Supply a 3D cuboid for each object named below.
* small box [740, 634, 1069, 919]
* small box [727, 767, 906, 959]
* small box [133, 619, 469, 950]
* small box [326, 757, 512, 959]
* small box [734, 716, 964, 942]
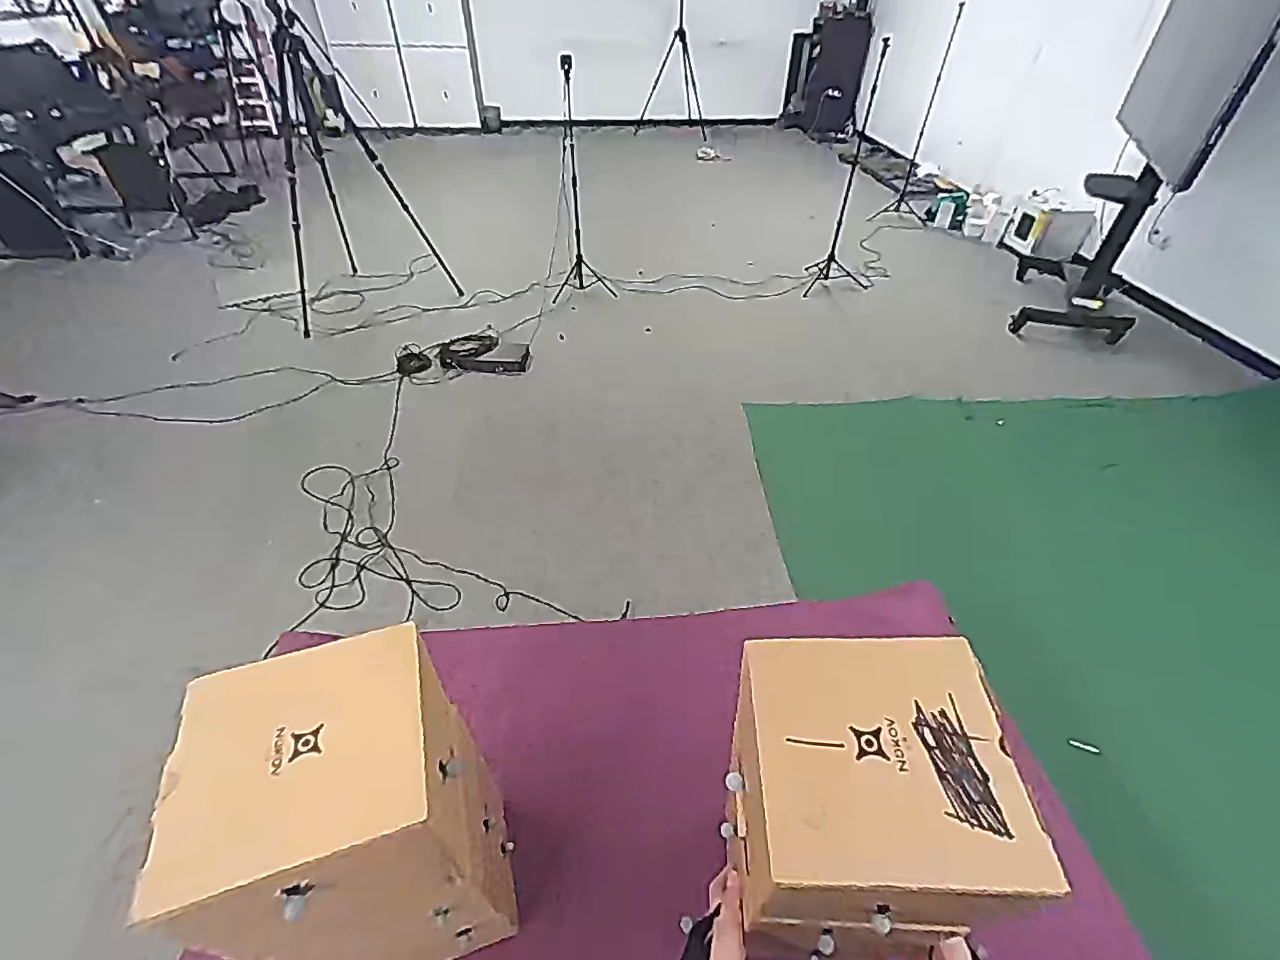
[{"bbox_3d":[0.180,0.241,0.440,0.179,0.176,0.168,-1,45,5],"label":"small box"},{"bbox_3d":[0.199,0.475,0.669,0.179,0.176,0.168,1,45,6],"label":"small box"},{"bbox_3d":[-0.245,0.247,0.447,0.179,0.176,0.168,-12,46,-15],"label":"small box"},{"bbox_3d":[-0.261,0.482,0.674,0.179,0.176,0.168,-11,44,-14],"label":"small box"},{"bbox_3d":[0.189,0.358,0.556,0.179,0.176,0.168,-1,45,5],"label":"small box"}]
